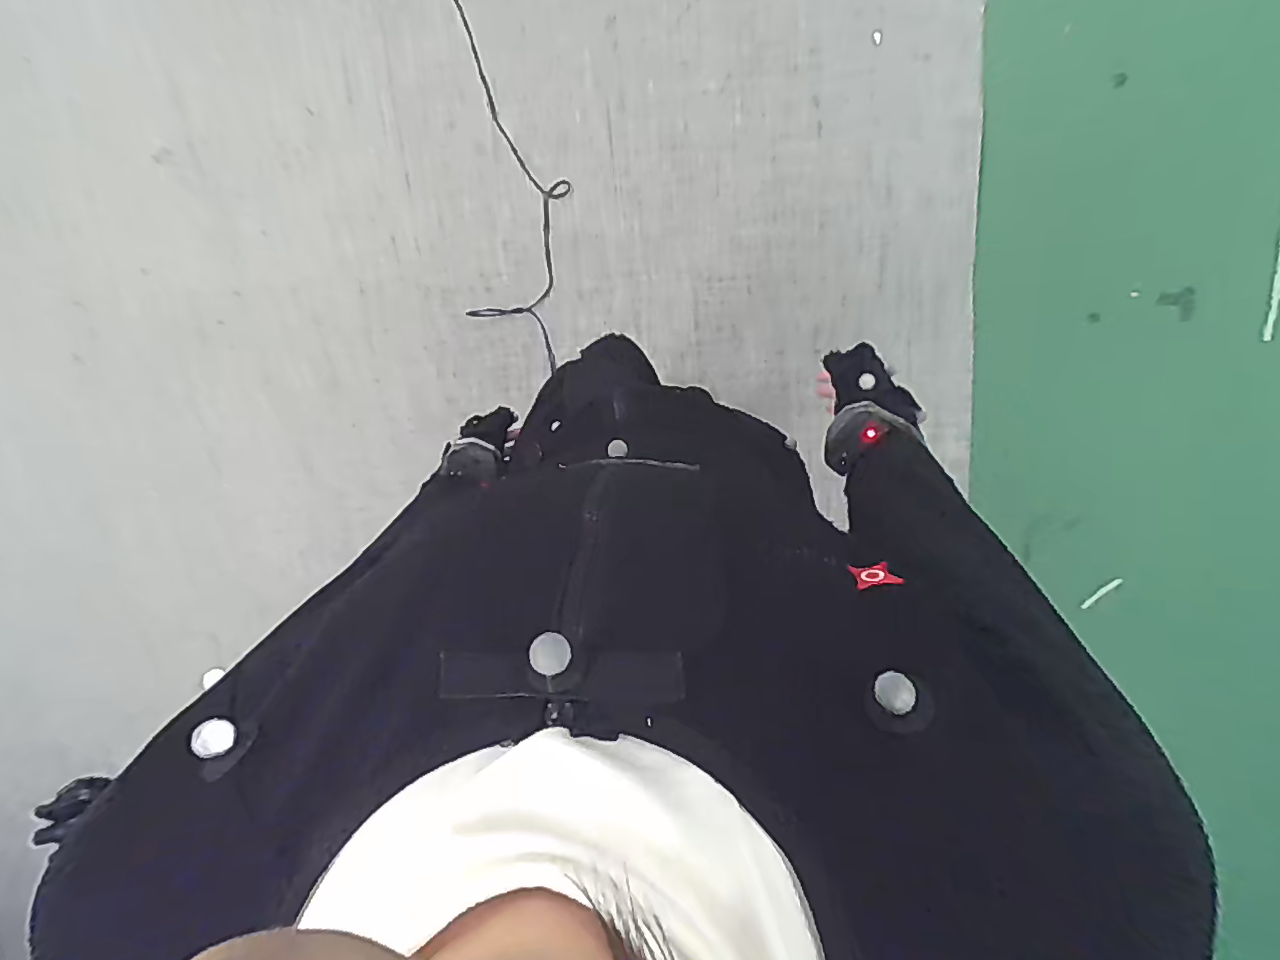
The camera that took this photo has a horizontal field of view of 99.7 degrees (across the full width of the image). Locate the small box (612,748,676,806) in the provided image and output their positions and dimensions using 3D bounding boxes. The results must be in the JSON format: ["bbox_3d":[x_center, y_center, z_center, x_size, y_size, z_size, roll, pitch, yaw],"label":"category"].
[{"bbox_3d":[0.017,0.904,1.566,0.179,0.176,0.168,-2,104,3],"label":"small box"}]
